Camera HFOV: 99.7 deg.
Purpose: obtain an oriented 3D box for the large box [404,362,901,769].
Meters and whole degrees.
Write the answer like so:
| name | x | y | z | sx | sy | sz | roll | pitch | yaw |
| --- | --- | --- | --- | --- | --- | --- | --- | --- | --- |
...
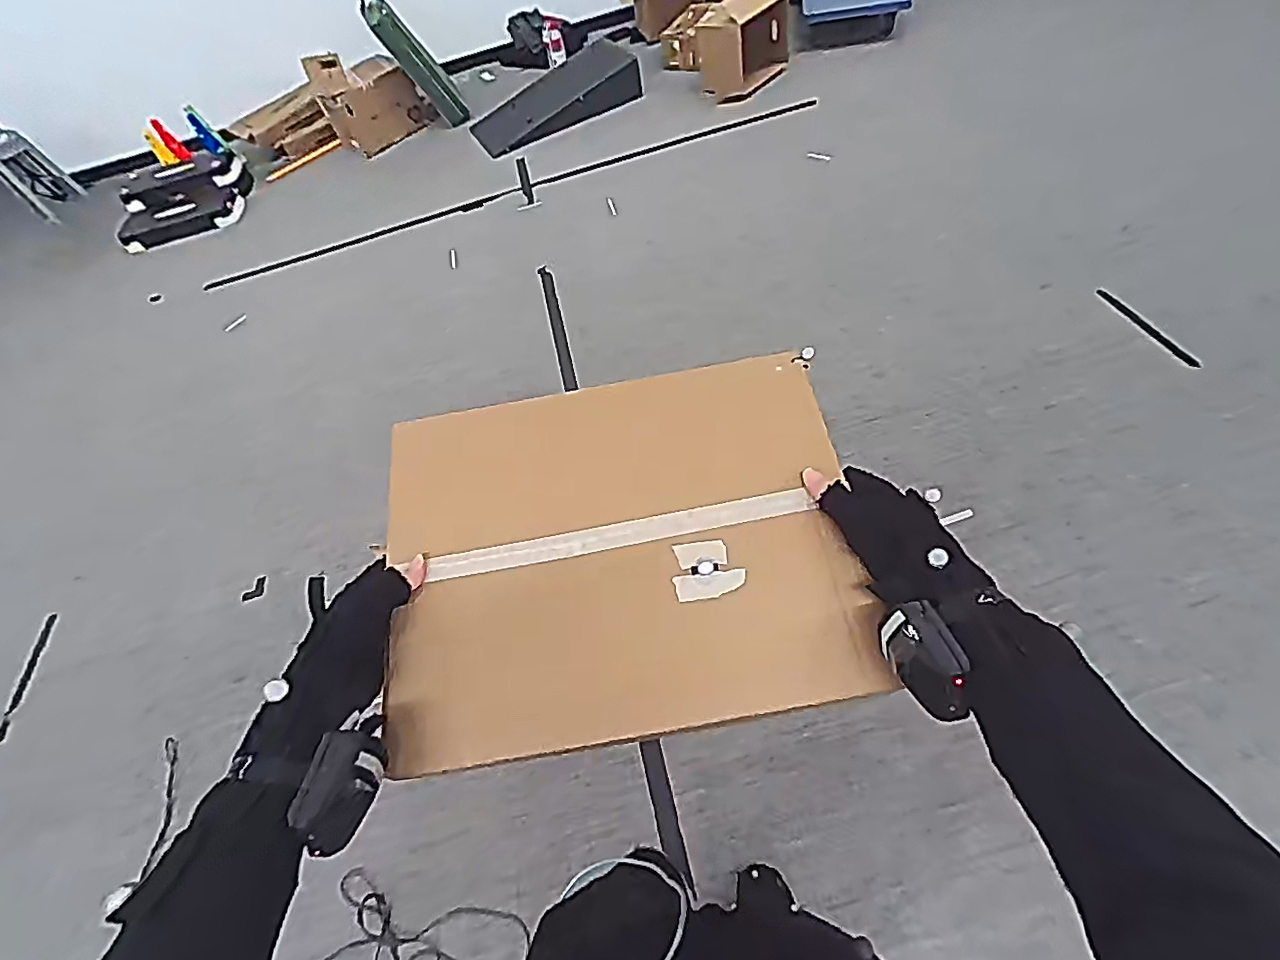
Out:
| name | x | y | z | sx | sy | sz | roll | pitch | yaw |
| --- | --- | --- | --- | --- | --- | --- | --- | --- | --- |
| large box | -0.005 | 0.115 | 0.616 | 0.408 | 0.320 | 0.320 | -10 | 65 | -1 |
